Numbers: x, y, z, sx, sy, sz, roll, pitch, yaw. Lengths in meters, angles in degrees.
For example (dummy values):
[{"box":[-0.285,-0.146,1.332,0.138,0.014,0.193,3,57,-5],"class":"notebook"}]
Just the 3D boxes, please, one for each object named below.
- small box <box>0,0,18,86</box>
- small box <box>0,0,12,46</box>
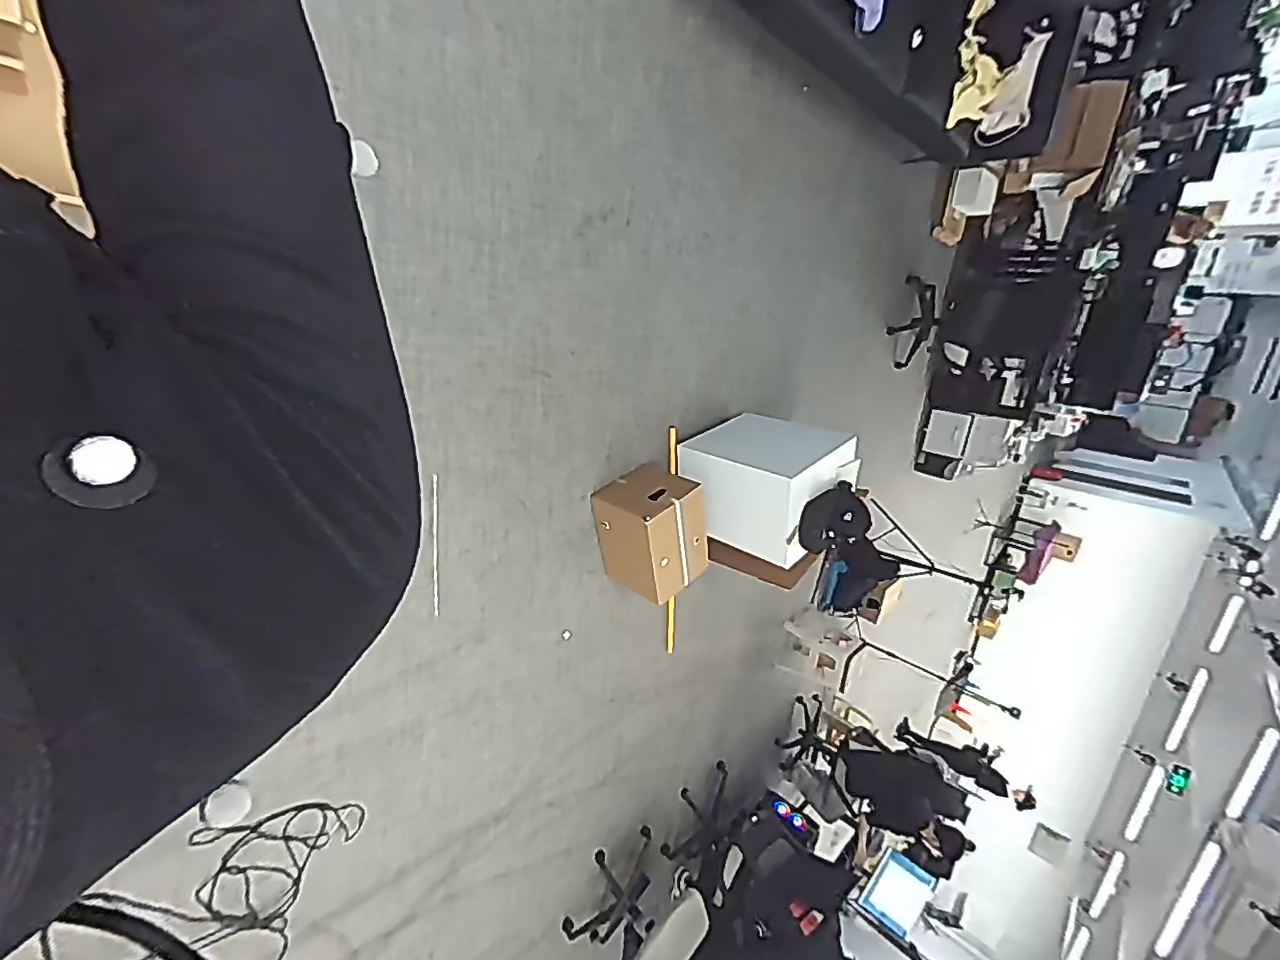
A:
[{"box":[-0.983,-0.681,0.735,0.168,0.176,0.179,-8,110,-47],"class":"small box"},{"box":[-0.866,-0.648,0.624,0.168,0.176,0.179,-12,113,-46],"class":"small box"}]
